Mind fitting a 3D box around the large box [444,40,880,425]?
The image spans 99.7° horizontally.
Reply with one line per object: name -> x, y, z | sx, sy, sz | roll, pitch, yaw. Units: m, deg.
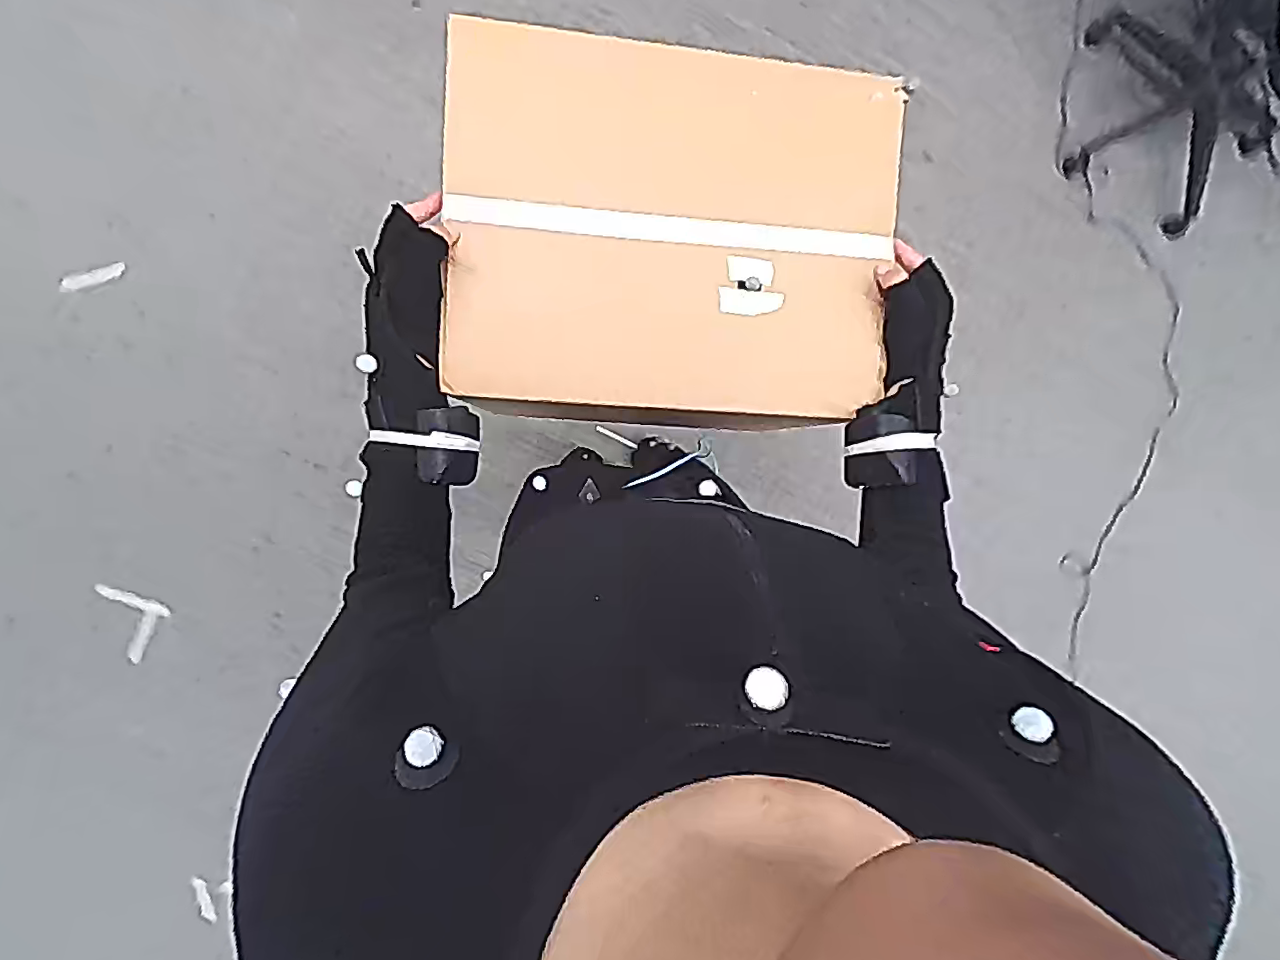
large box -> 0.006, -0.229, 0.639 | 0.408, 0.320, 0.320 | 2, 94, -8
